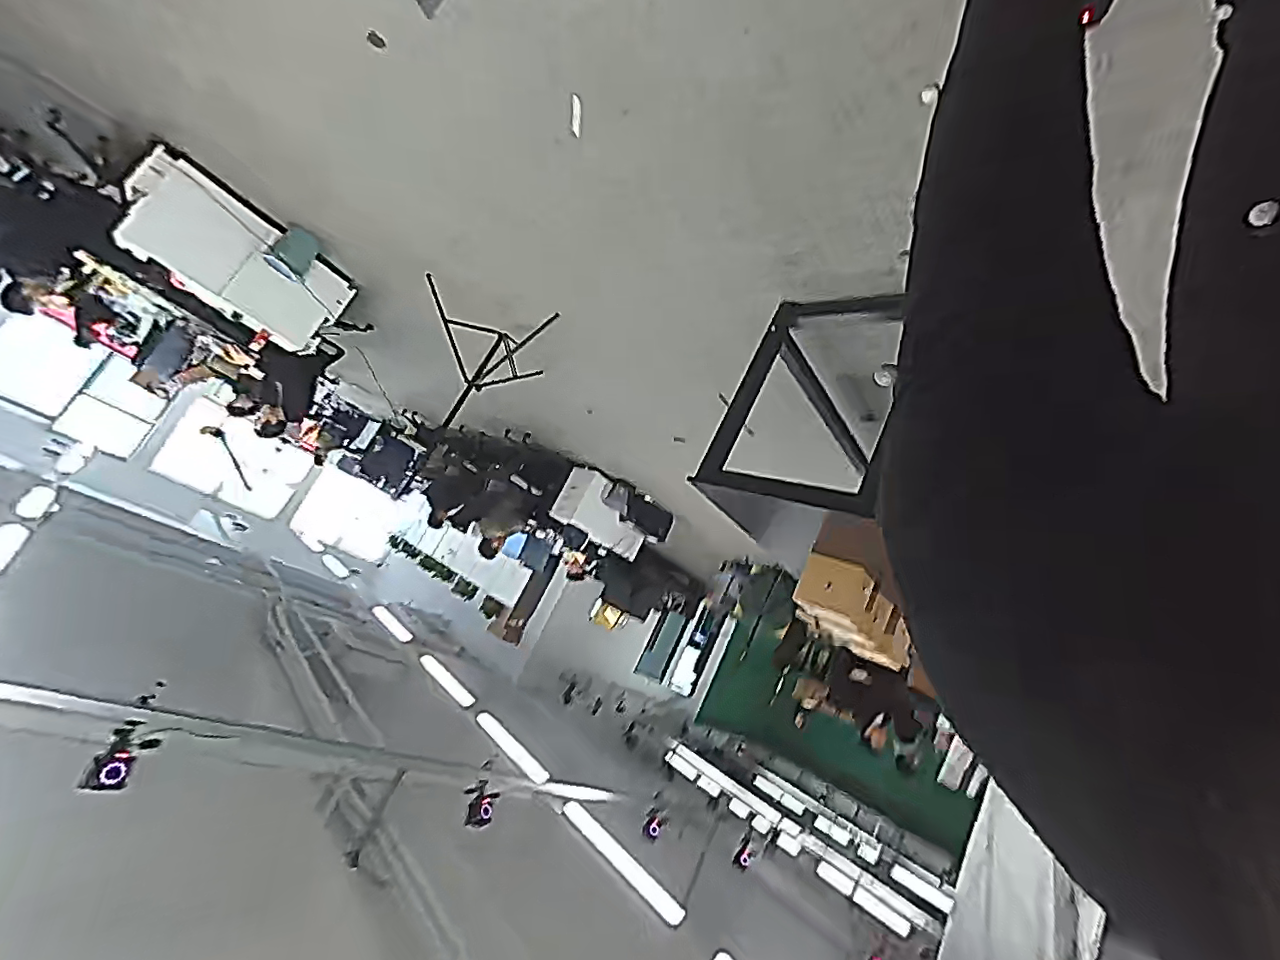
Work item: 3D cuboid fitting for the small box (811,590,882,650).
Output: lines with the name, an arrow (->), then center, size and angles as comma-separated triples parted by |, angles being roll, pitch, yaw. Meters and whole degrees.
small box -> 0.752, 0.482, 1.947 | 0.179, 0.176, 0.168 | 13, 160, 47

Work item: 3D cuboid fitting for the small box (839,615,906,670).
small box -> 0.909, 0.612, 2.111 | 0.168, 0.176, 0.179 | 12, 159, 48

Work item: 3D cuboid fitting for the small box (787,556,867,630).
small box -> 0.615, 0.364, 1.774 | 0.179, 0.176, 0.168 | 14, 161, 42
